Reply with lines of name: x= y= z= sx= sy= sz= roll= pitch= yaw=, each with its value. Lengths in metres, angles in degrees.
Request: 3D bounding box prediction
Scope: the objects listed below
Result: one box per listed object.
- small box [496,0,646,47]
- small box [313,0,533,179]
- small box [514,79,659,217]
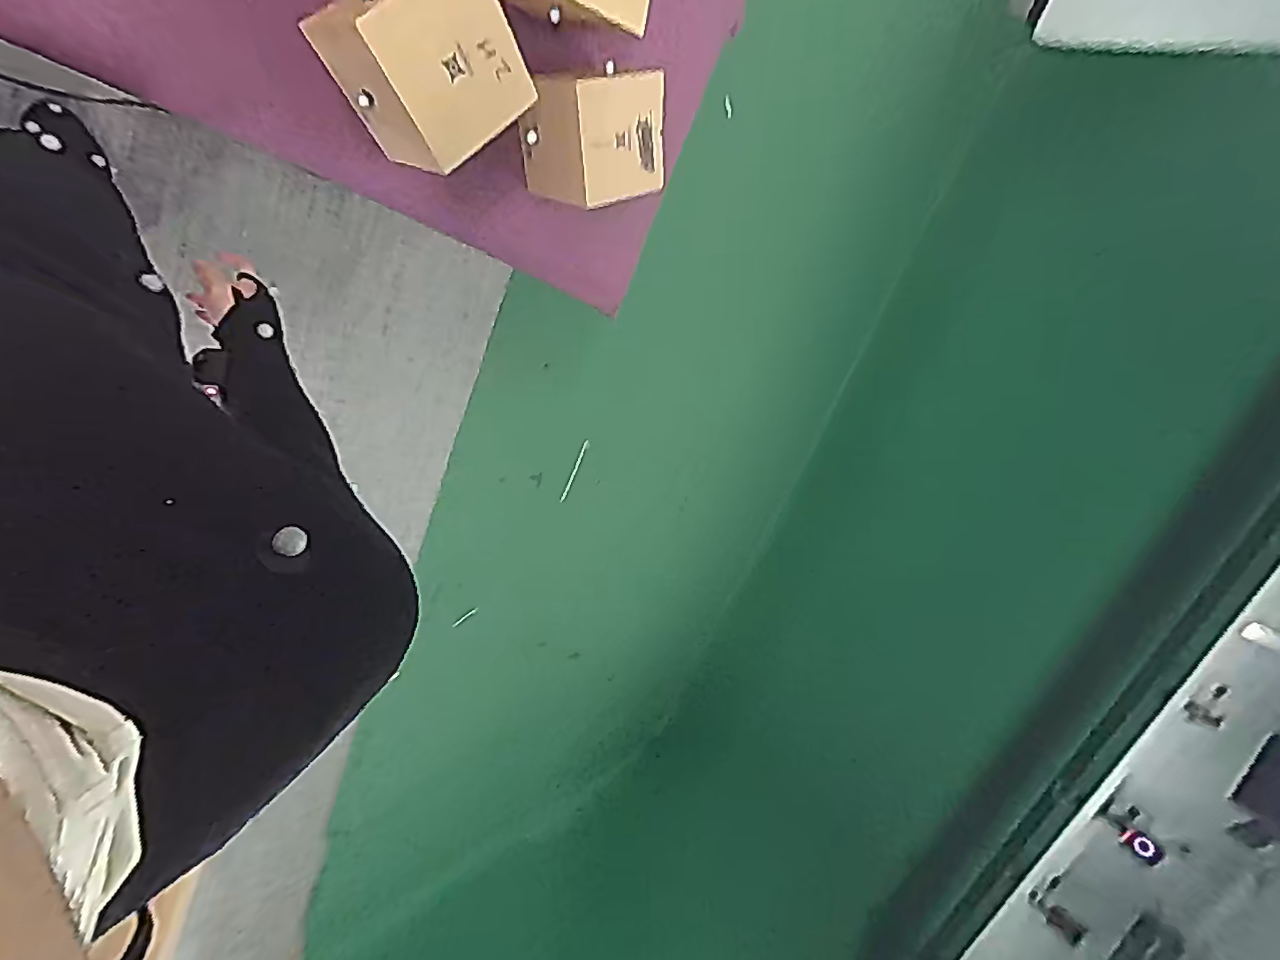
small box: x=-0.096 y=-0.732 z=0.743 sx=0.168 sy=0.176 sz=0.179 roll=-15 pitch=129 yaw=-44
small box: x=-0.277 y=-0.518 z=0.687 sx=0.179 sy=0.176 sz=0.168 roll=-48 pitch=146 yaw=-15
small box: x=-0.088 y=-0.556 z=0.896 sx=0.179 sy=0.176 sz=0.168 roll=-32 pitch=139 yaw=-30
